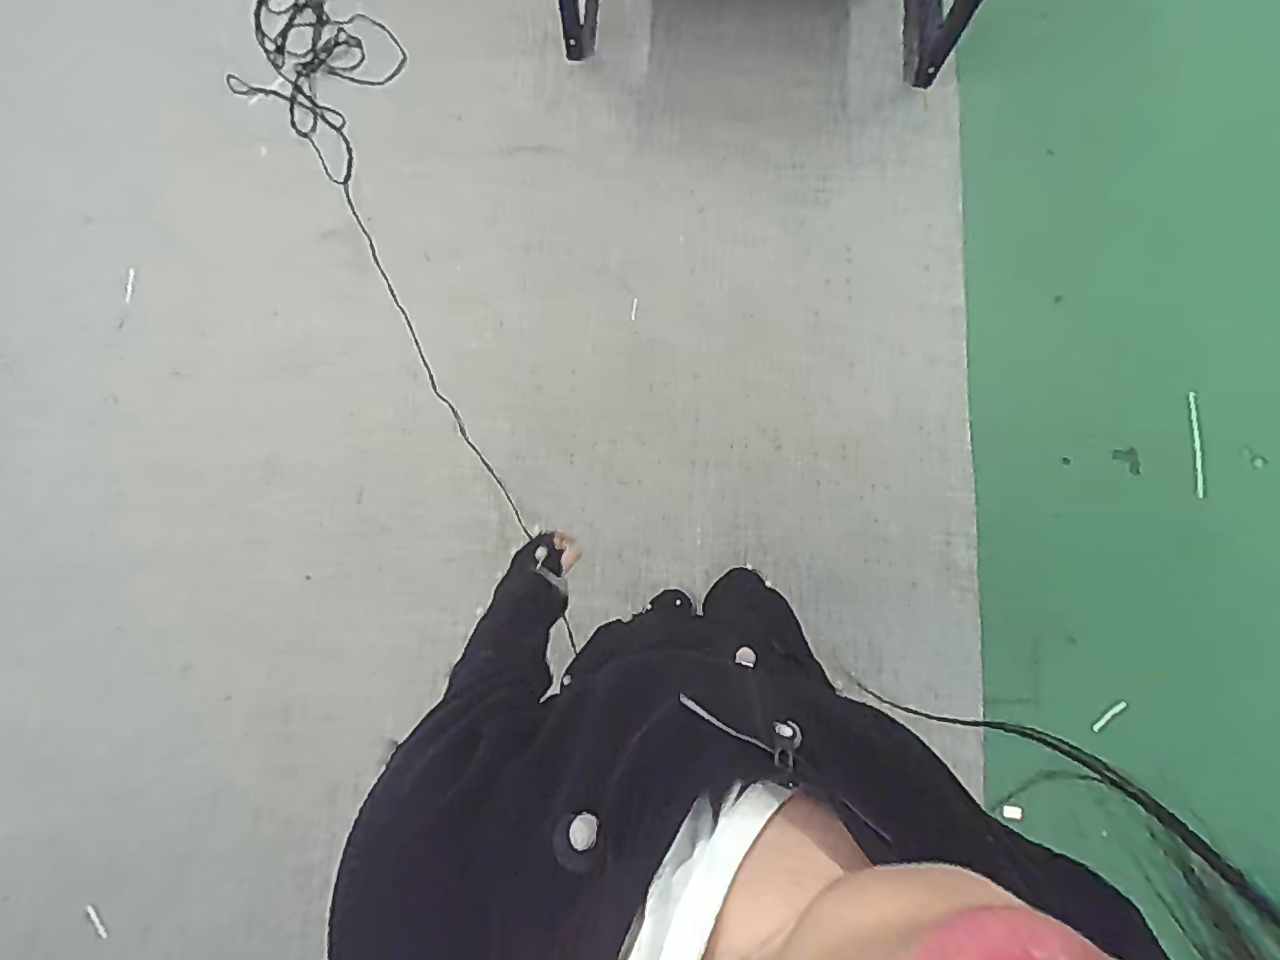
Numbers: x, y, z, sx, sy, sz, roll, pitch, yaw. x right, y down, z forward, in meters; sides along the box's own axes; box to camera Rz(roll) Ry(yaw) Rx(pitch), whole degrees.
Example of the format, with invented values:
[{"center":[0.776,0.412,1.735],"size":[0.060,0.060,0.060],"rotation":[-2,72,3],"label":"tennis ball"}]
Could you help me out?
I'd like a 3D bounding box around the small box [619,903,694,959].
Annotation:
[{"center":[0.034,1.158,1.295],"size":[0.168,0.176,0.179],"rotation":[4,81,1],"label":"small box"}]
